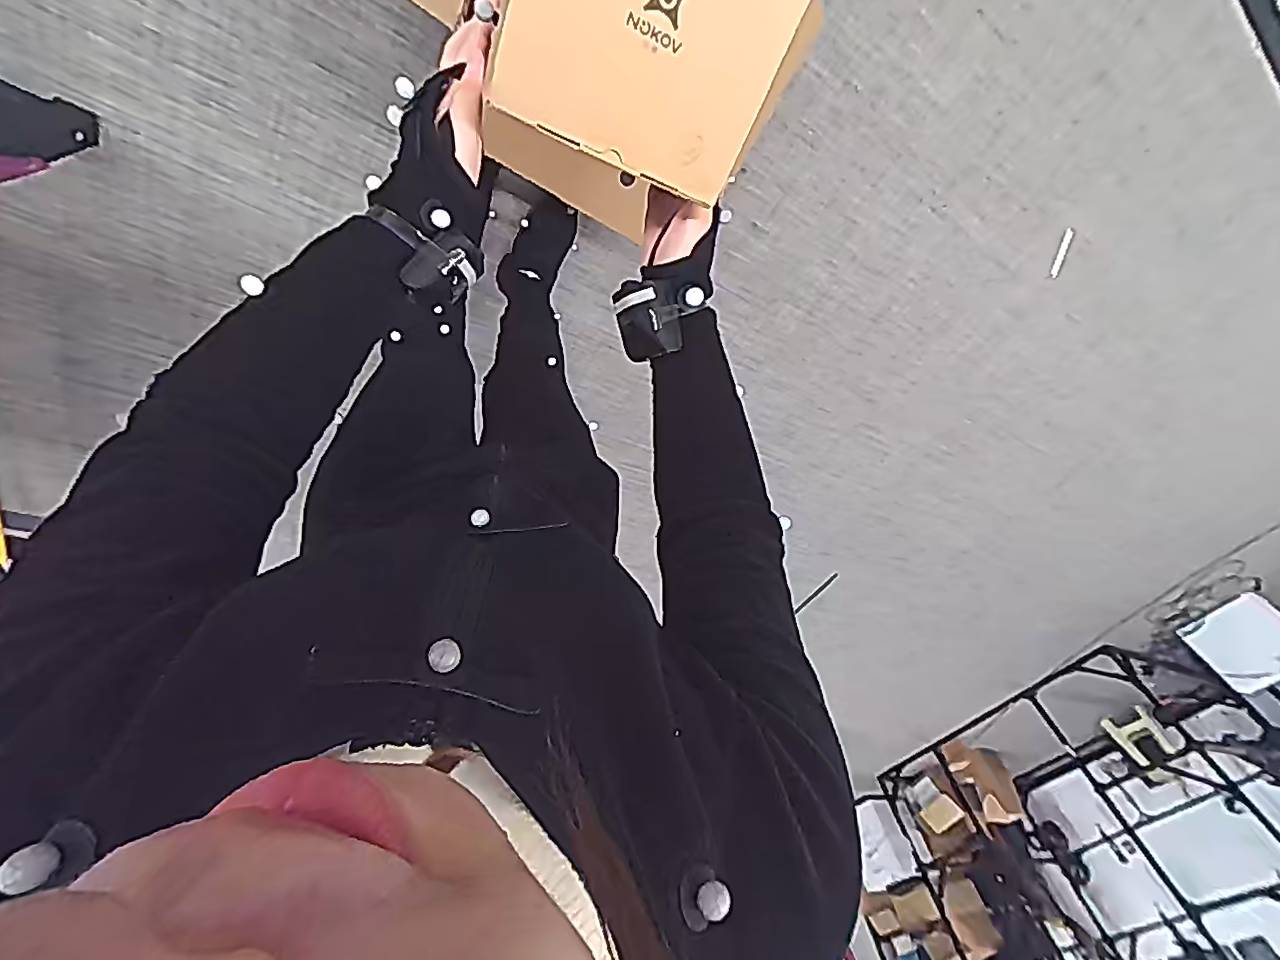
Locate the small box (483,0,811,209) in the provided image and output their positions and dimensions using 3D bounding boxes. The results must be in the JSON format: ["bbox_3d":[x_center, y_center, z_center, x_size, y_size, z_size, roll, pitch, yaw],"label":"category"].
[{"bbox_3d":[-0.004,-0.325,0.372,0.168,0.176,0.179,11,125,-26],"label":"small box"}]
